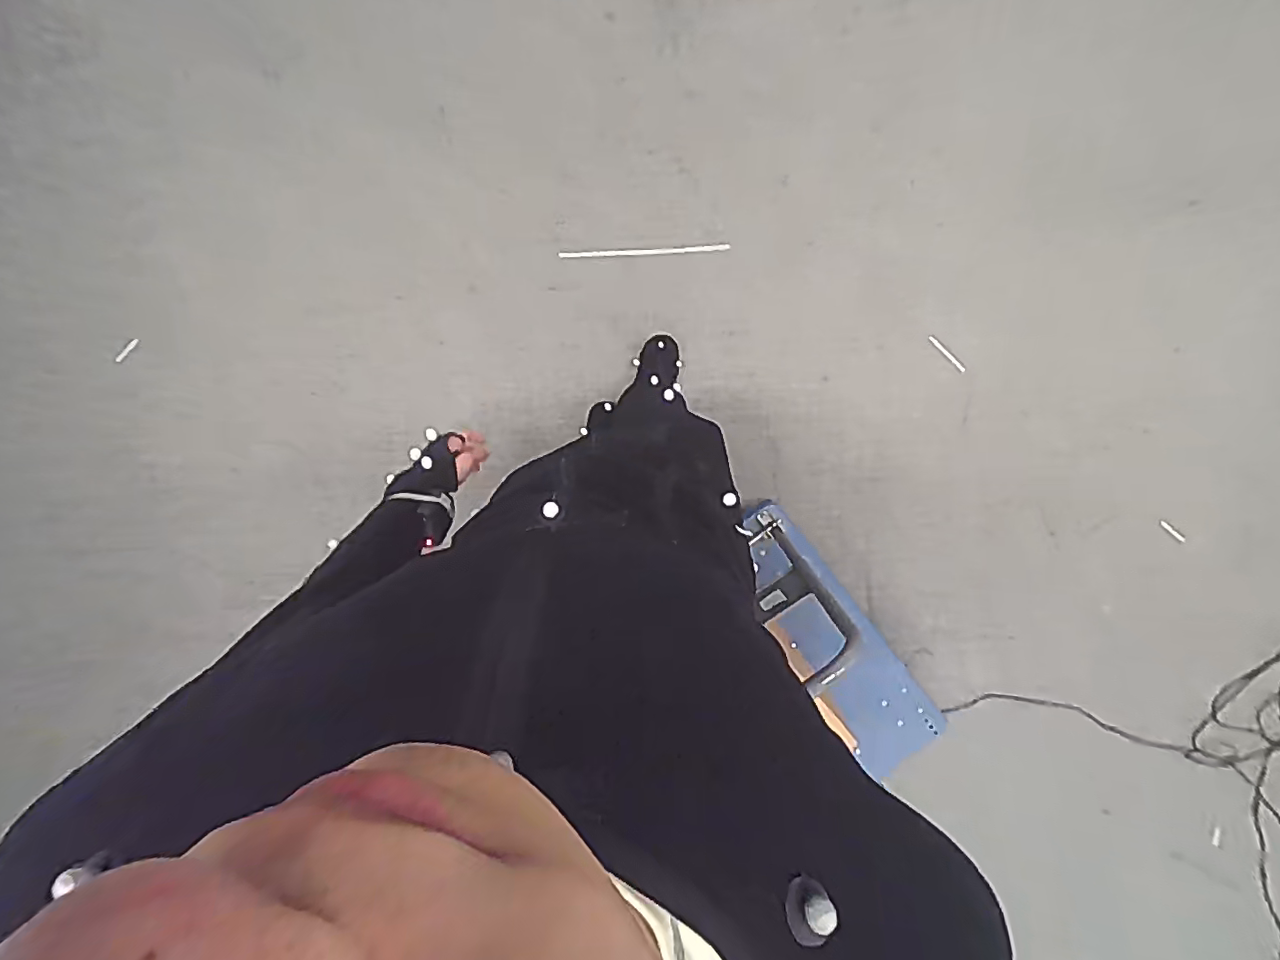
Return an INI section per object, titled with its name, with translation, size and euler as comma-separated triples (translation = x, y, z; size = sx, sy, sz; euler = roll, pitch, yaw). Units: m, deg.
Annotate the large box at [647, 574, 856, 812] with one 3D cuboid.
[large box]
translation = 0.258, 0.522, 1.386
size = 0.320, 0.320, 0.408
euler = -39, 98, 8
